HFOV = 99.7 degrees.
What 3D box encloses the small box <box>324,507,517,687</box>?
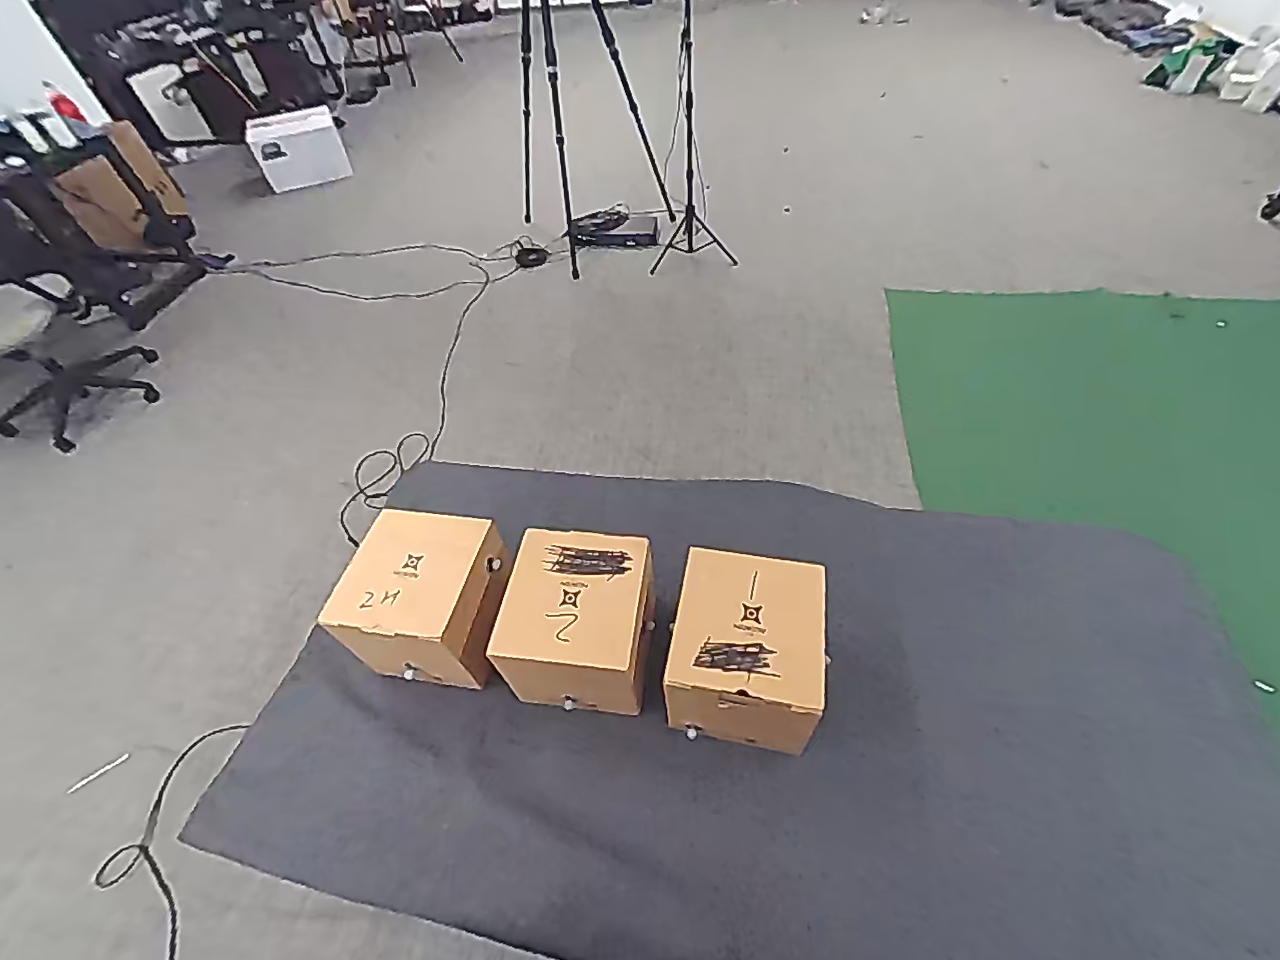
[{"bbox_3d":[-0.285,0.163,0.753,0.168,0.176,0.179,5,51,10],"label":"small box"}]
